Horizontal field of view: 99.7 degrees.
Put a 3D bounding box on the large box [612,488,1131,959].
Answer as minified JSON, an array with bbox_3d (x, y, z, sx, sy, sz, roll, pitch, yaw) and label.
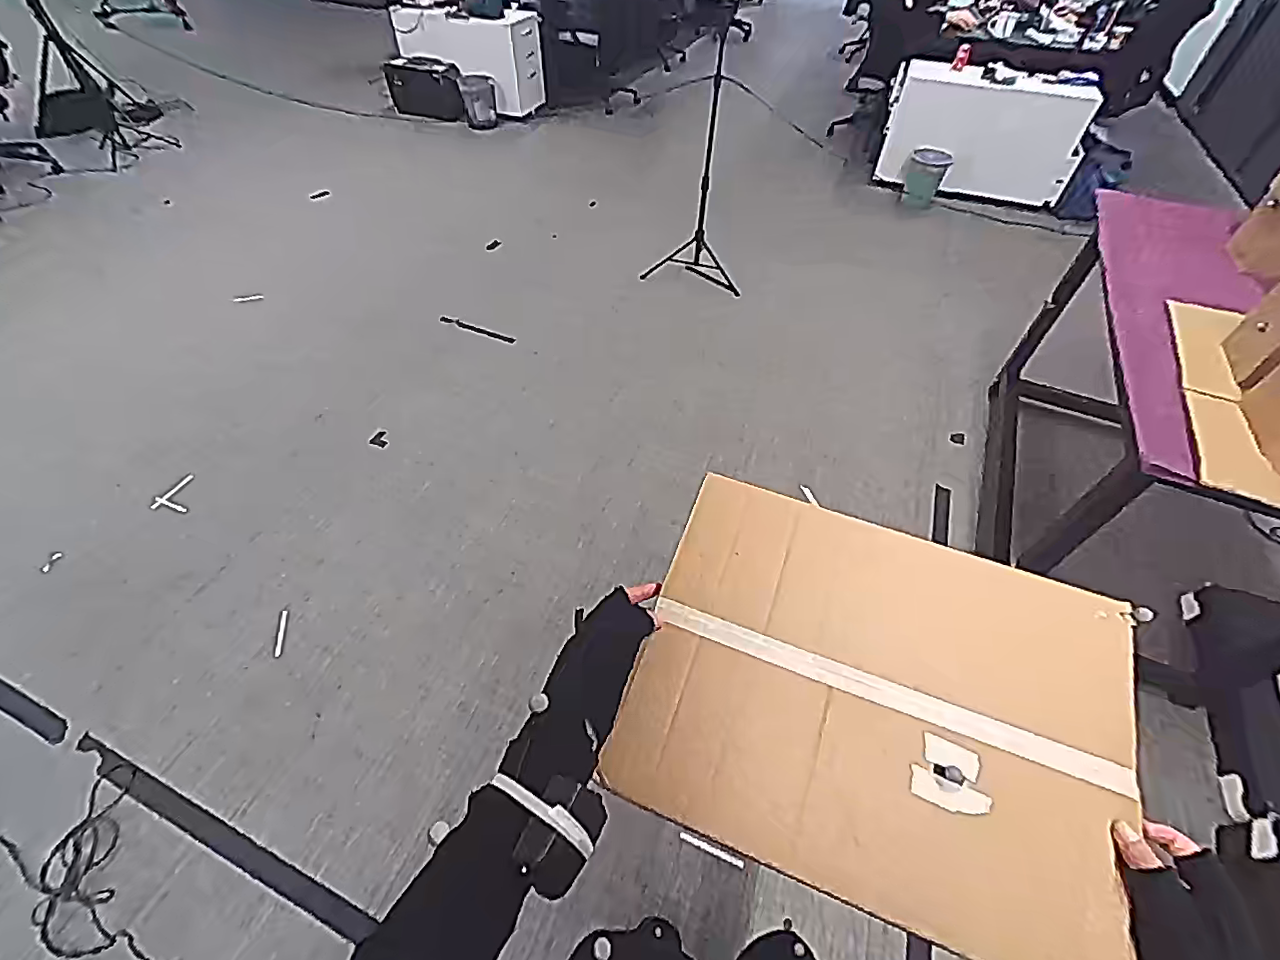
[{"bbox_3d":[0.216,0.260,0.612,0.408,0.320,0.320,19,64,12],"label":"large box"}]
